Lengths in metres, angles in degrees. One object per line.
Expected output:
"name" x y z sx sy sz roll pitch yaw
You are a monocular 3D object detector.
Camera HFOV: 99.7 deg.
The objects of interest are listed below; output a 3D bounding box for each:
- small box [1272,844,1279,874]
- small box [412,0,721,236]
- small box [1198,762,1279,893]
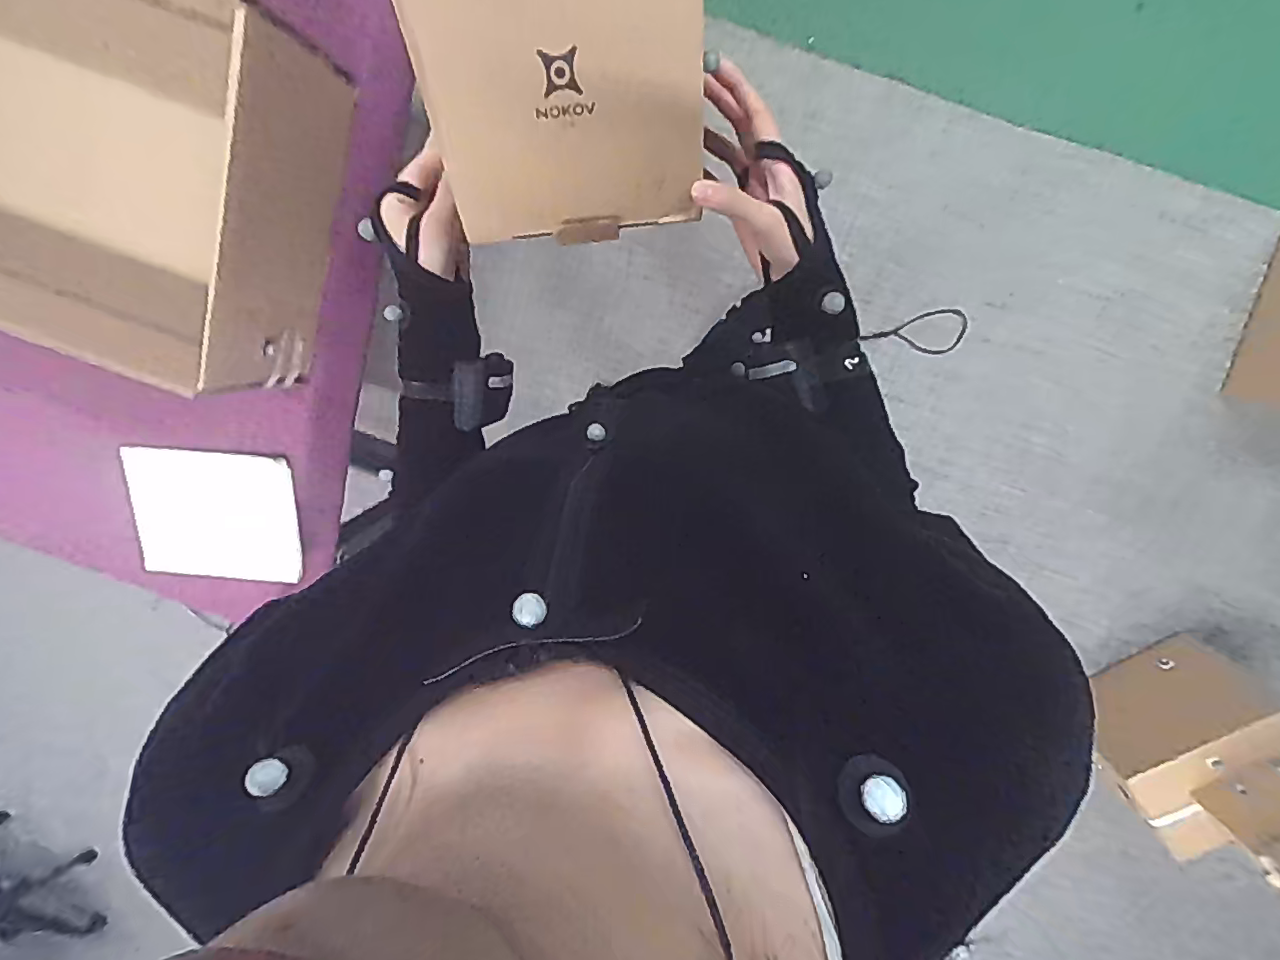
"small box" 1.424 0.818 1.061 0.179 0.176 0.168 -36 101 12
"small box" -0.038 -0.289 0.362 0.168 0.176 0.179 -4 135 1
"small box" 1.439 0.790 1.223 0.179 0.176 0.168 -40 100 14
